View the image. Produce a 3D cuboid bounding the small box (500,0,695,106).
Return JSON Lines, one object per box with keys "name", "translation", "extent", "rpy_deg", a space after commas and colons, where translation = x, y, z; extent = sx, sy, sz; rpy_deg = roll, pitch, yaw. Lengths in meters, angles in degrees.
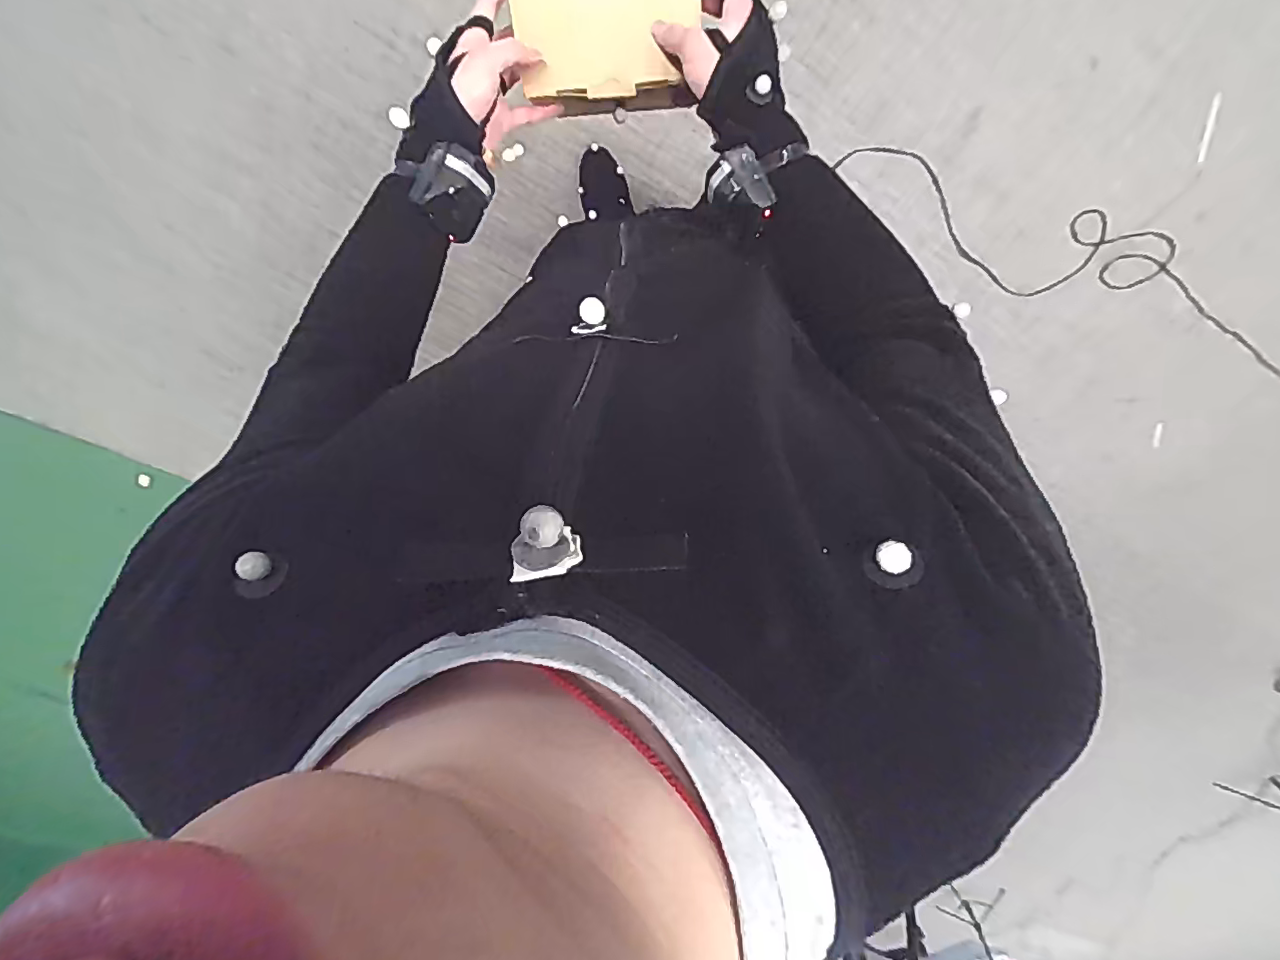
{"name": "small box", "translation": [-0.032, -0.468, 0.511], "extent": [0.168, 0.176, 0.179], "rpy_deg": [-1, 118, 6]}
